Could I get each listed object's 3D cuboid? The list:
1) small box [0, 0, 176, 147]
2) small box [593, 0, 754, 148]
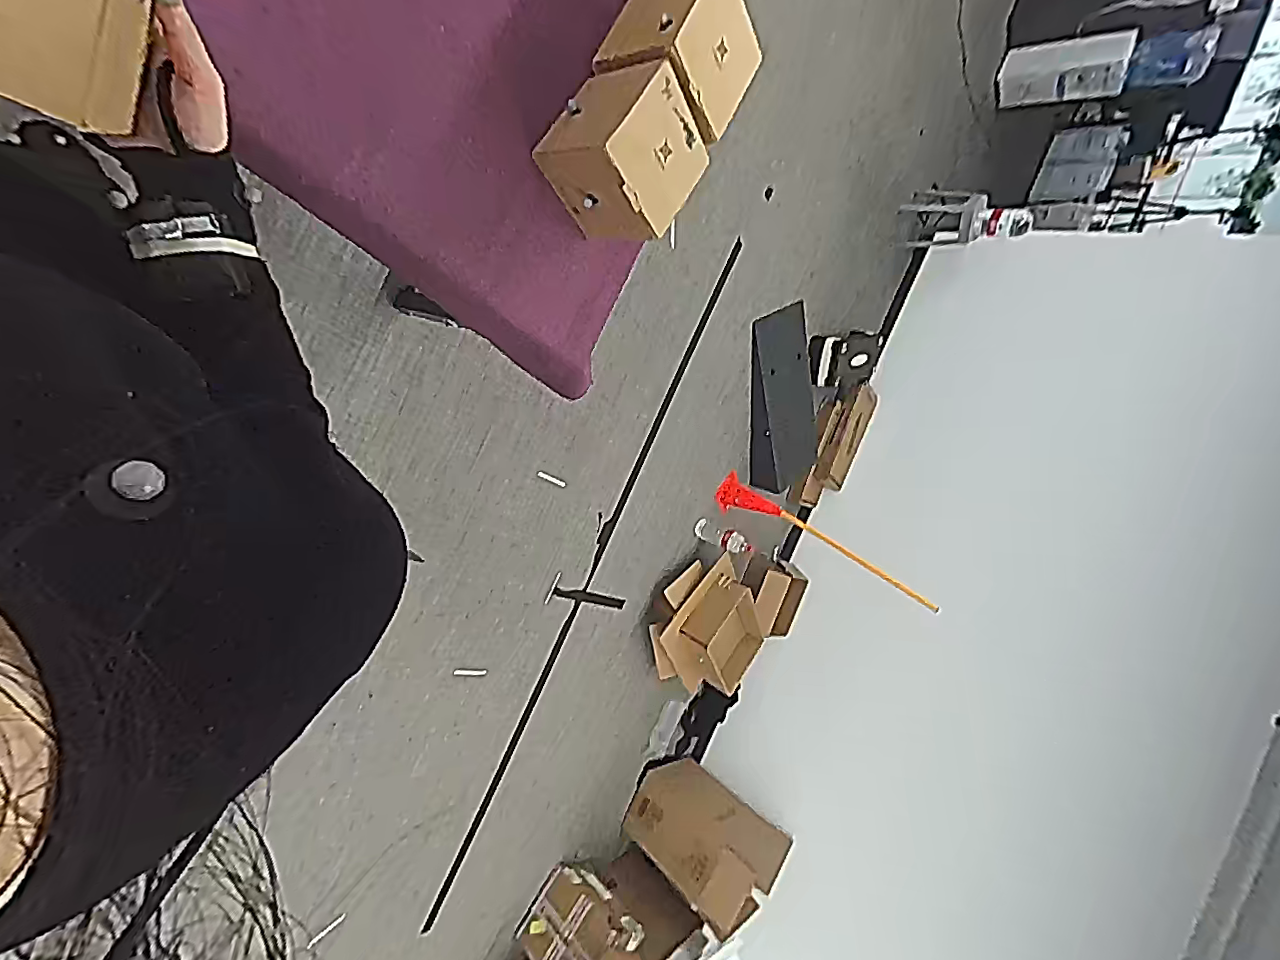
[{"bbox_3d":[-0.319,-0.282,0.238,0.168,0.176,0.179,14,108,-42],"label":"small box"},{"bbox_3d":[0.053,-0.677,0.875,0.168,0.176,0.179,35,80,-52],"label":"small box"}]
